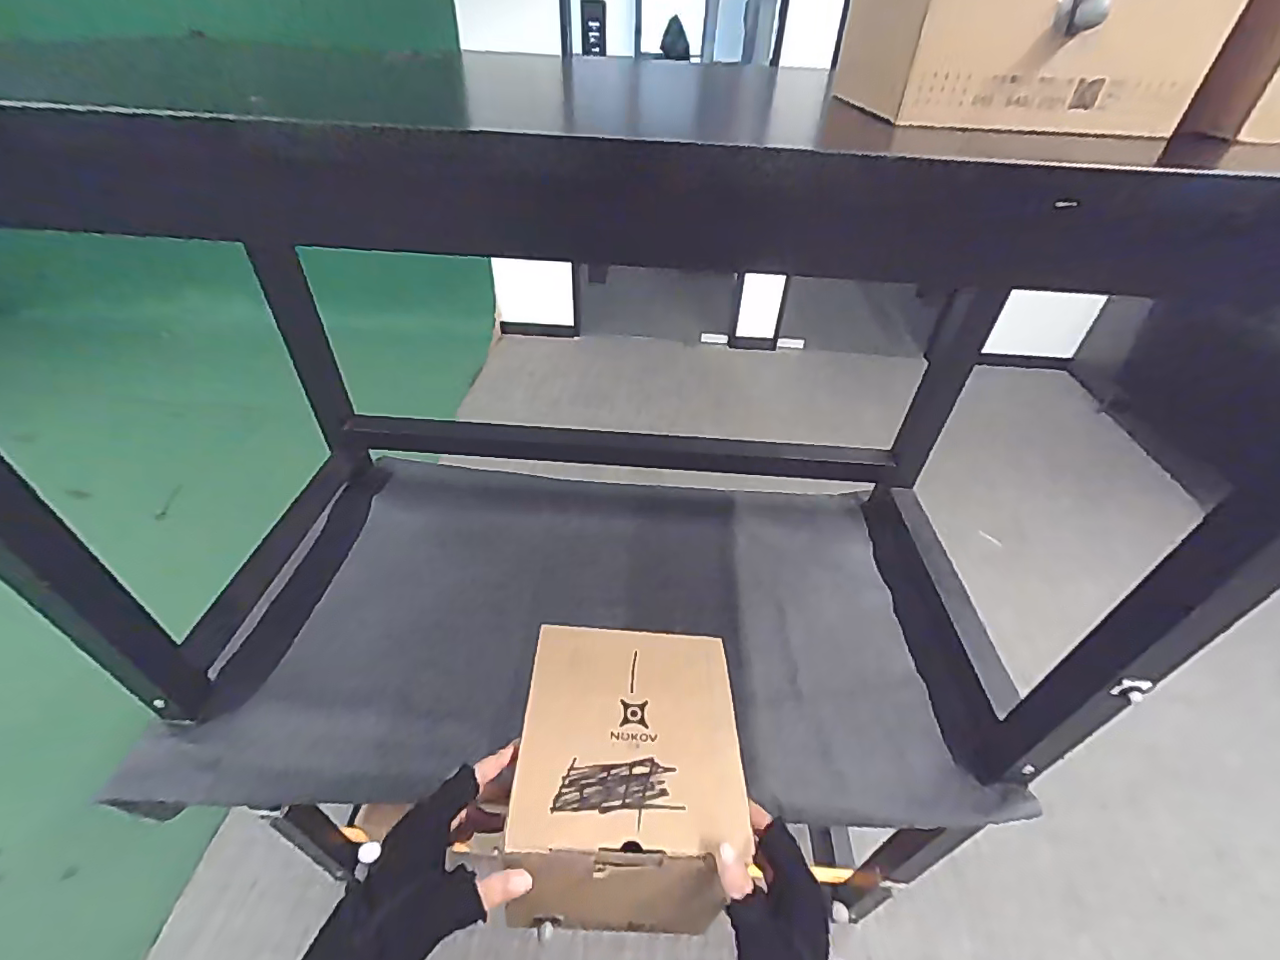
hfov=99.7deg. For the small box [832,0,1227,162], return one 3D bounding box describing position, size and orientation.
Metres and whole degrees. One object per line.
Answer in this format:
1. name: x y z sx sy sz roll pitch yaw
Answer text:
1. small box: 0.240 -0.322 0.351 0.168 0.176 0.179 3 40 1
